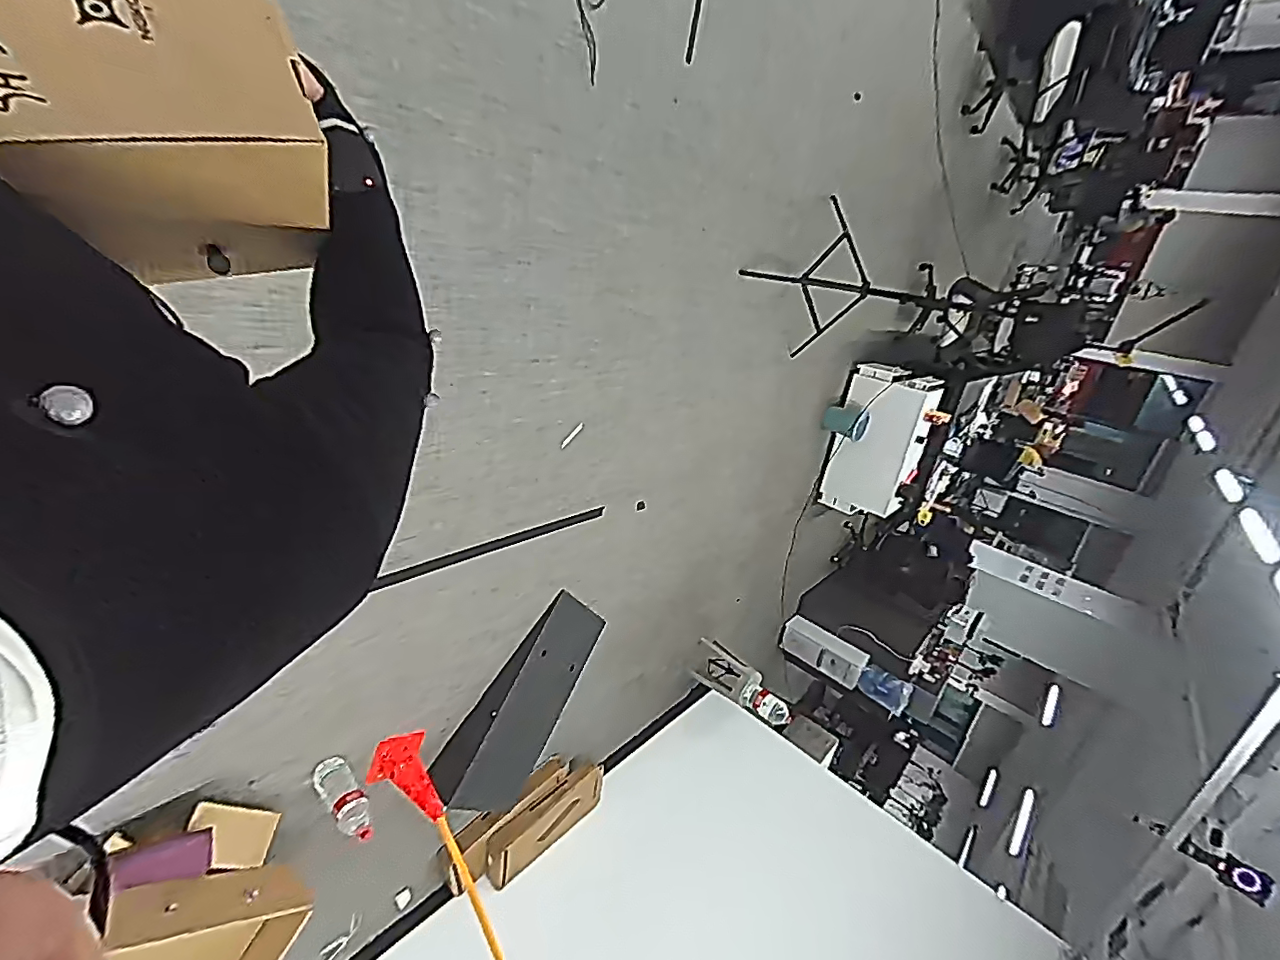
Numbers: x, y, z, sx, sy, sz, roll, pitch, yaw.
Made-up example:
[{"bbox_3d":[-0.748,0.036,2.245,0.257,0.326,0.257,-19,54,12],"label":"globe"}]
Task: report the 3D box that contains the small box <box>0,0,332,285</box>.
[{"bbox_3d":[-0.358,-0.271,0.411,0.179,0.176,0.168,-22,91,-30],"label":"small box"}]
